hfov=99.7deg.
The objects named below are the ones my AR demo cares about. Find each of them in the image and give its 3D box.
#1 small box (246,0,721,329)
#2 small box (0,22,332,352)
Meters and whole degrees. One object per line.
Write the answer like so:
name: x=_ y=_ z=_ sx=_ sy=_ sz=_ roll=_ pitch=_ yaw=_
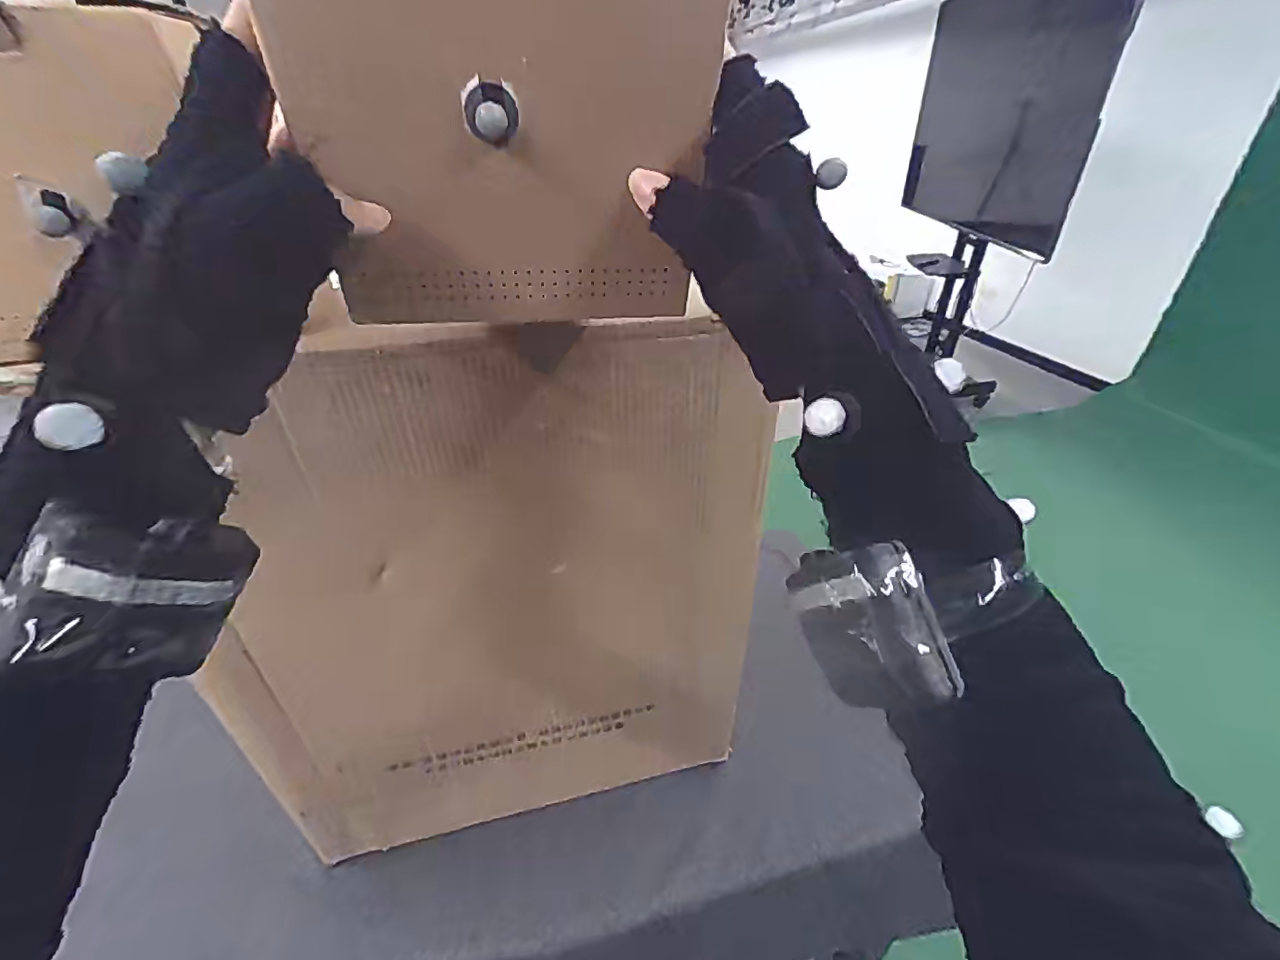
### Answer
small box: x=-0.068 y=-0.196 z=0.293 sx=0.179 sy=0.176 sz=0.168 roll=-4 pitch=45 yaw=-8
small box: x=-0.334 y=-0.192 z=0.366 sx=0.168 sy=0.176 sz=0.179 roll=-9 pitch=36 yaw=-12
